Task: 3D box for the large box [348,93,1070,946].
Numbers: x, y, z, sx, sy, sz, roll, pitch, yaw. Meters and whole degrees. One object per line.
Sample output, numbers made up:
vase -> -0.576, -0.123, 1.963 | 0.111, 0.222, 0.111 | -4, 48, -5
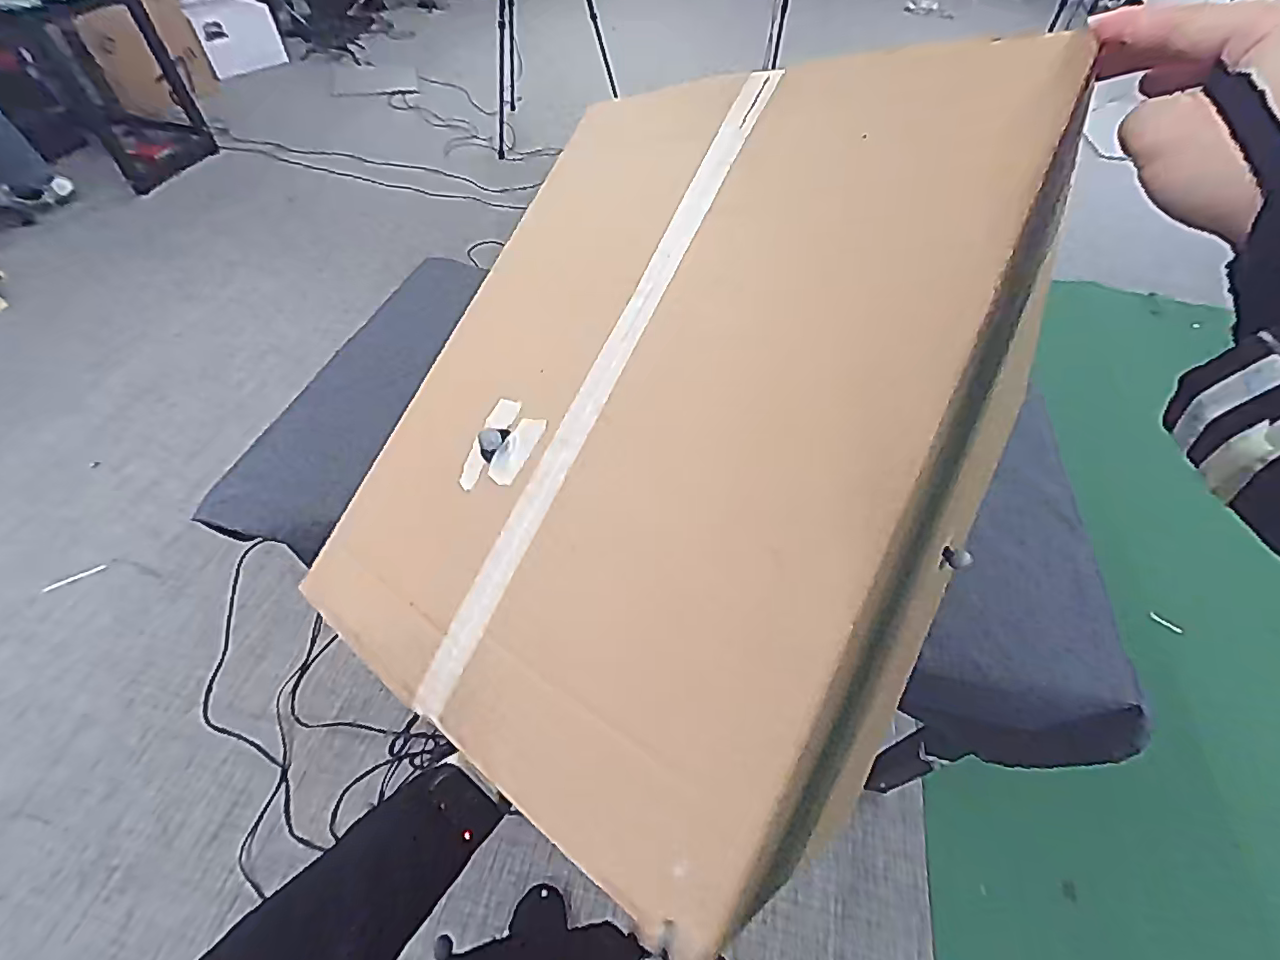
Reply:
large box -> 0.072, 0.002, 0.430 | 0.320, 0.320, 0.408 | 19, 80, 34
